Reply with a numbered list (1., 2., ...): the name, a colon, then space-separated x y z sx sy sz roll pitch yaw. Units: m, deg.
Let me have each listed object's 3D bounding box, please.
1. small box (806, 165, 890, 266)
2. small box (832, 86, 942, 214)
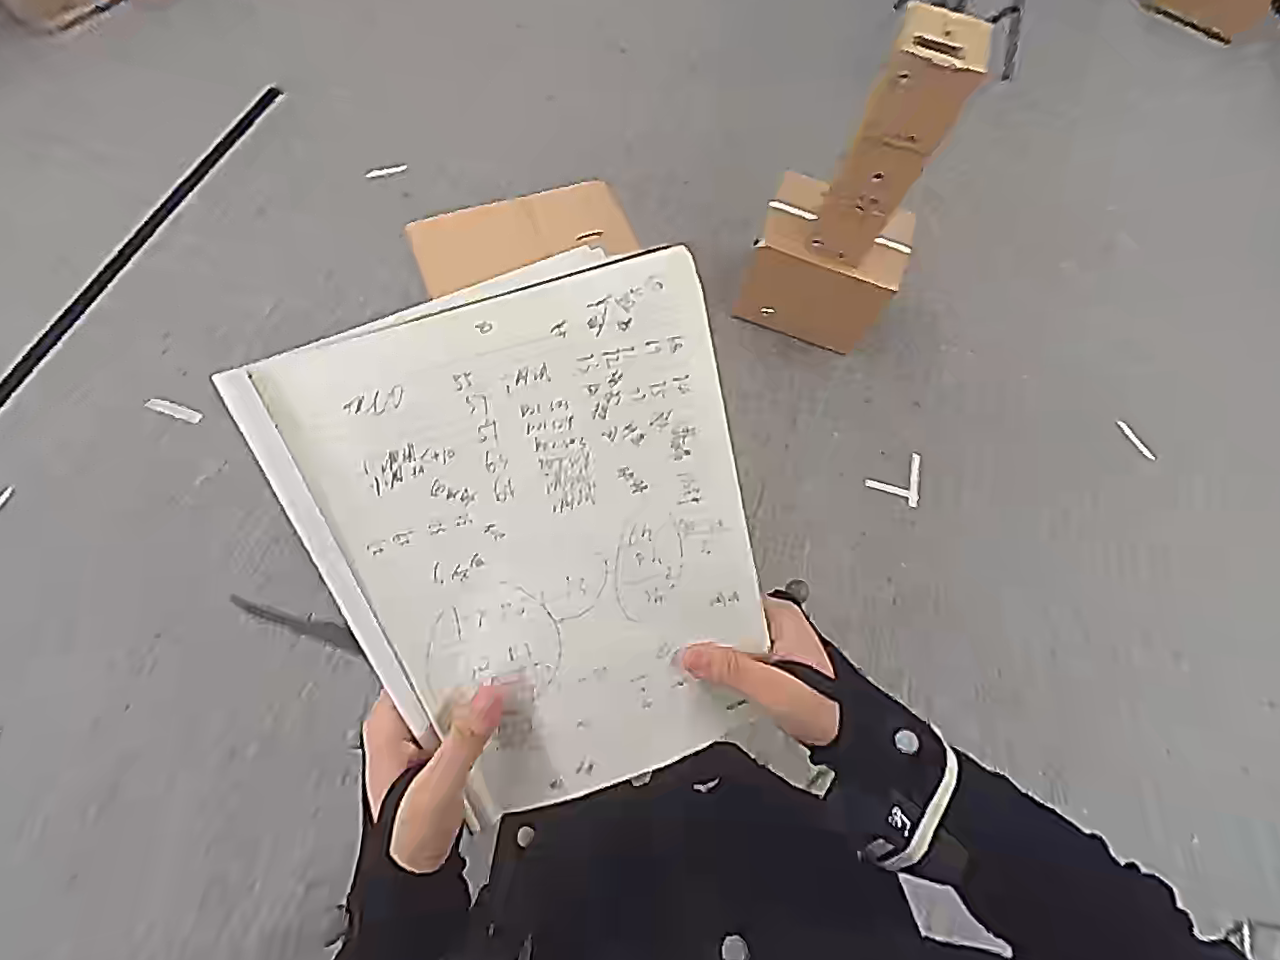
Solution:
1. small box: 0.554 -0.700 1.419 0.168 0.176 0.179 23 68 4
2. small box: 0.572 -0.767 1.271 0.168 0.176 0.179 20 69 2
